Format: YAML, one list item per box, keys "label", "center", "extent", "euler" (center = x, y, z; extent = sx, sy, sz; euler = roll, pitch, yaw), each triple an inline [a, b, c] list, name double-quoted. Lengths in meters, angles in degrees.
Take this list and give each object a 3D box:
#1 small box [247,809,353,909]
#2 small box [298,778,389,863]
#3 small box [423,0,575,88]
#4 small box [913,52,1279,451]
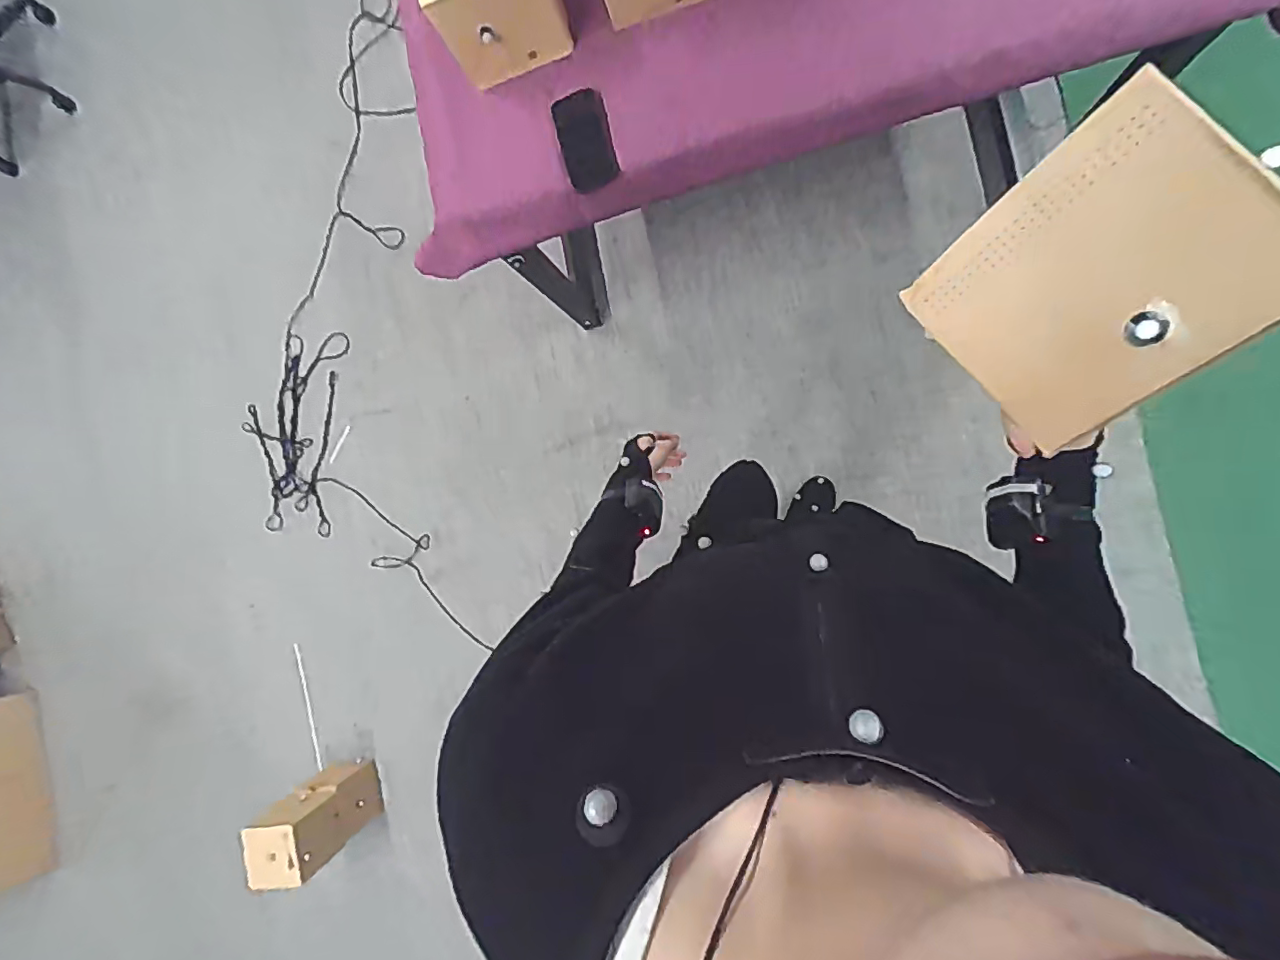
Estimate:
- label: "small box"
  center: [-0.942, 1.050, 1.506]
  extent: [0.179, 0.176, 0.168]
  euler: [-12, 87, 14]
- label: "small box"
  center: [-0.908, 1.046, 1.667]
  extent: [0.168, 0.176, 0.179]
  euler: [-14, 87, 13]
- label: "small box"
  center: [-0.210, -0.724, 0.792]
  extent: [0.168, 0.176, 0.179]
  euler: [-14, 85, 13]
- label: "small box"
  center: [0.340, -0.156, 0.390]
  extent: [0.176, 0.168, 0.179]
  euler: [51, 133, 9]
